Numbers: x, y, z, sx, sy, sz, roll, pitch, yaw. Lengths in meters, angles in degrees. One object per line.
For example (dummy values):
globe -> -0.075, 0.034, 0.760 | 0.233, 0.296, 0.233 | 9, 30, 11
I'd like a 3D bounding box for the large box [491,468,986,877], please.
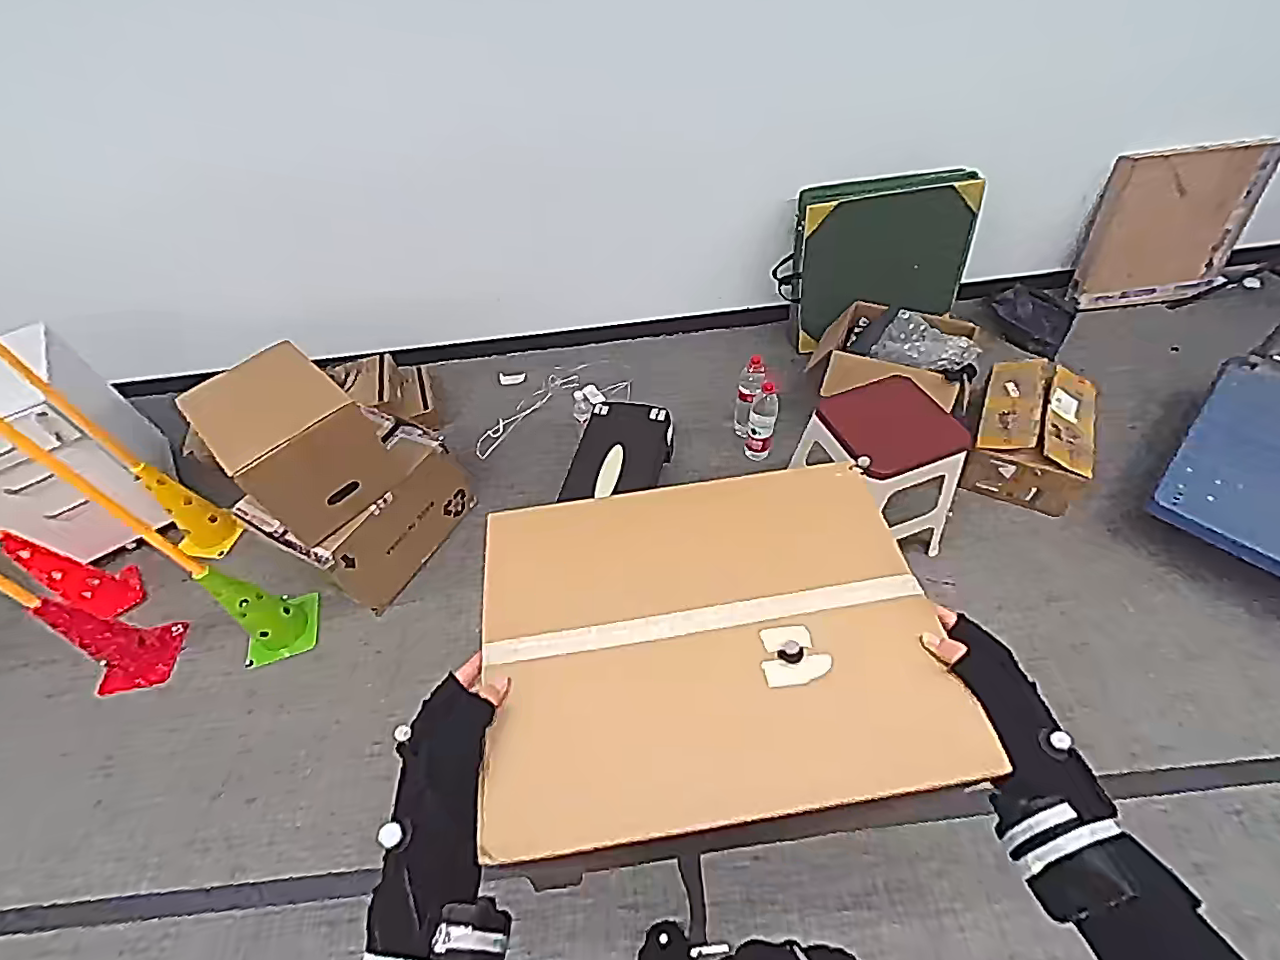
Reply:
large box -> 0.066, 0.227, 0.624 | 0.408, 0.320, 0.320 | -8, 52, -3
